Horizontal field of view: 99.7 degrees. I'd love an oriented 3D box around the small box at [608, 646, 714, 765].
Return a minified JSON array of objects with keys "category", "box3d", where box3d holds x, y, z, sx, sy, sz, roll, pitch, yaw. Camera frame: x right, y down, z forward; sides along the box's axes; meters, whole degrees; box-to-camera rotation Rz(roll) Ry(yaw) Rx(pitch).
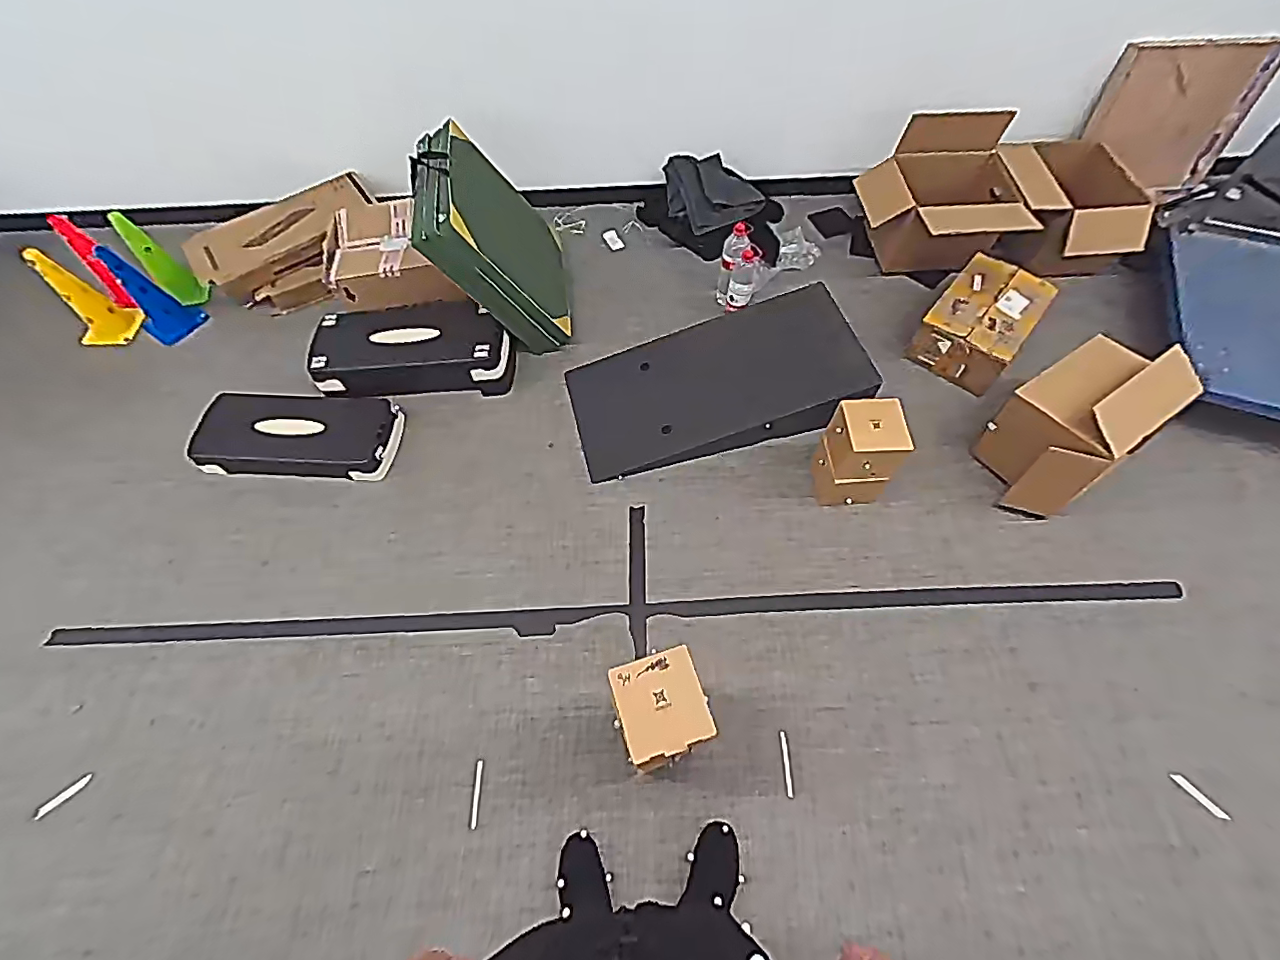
[{"category":"small box","box3d":[0.040,0.460,1.098,0.168,0.176,0.179,-16,63,-7]}]
